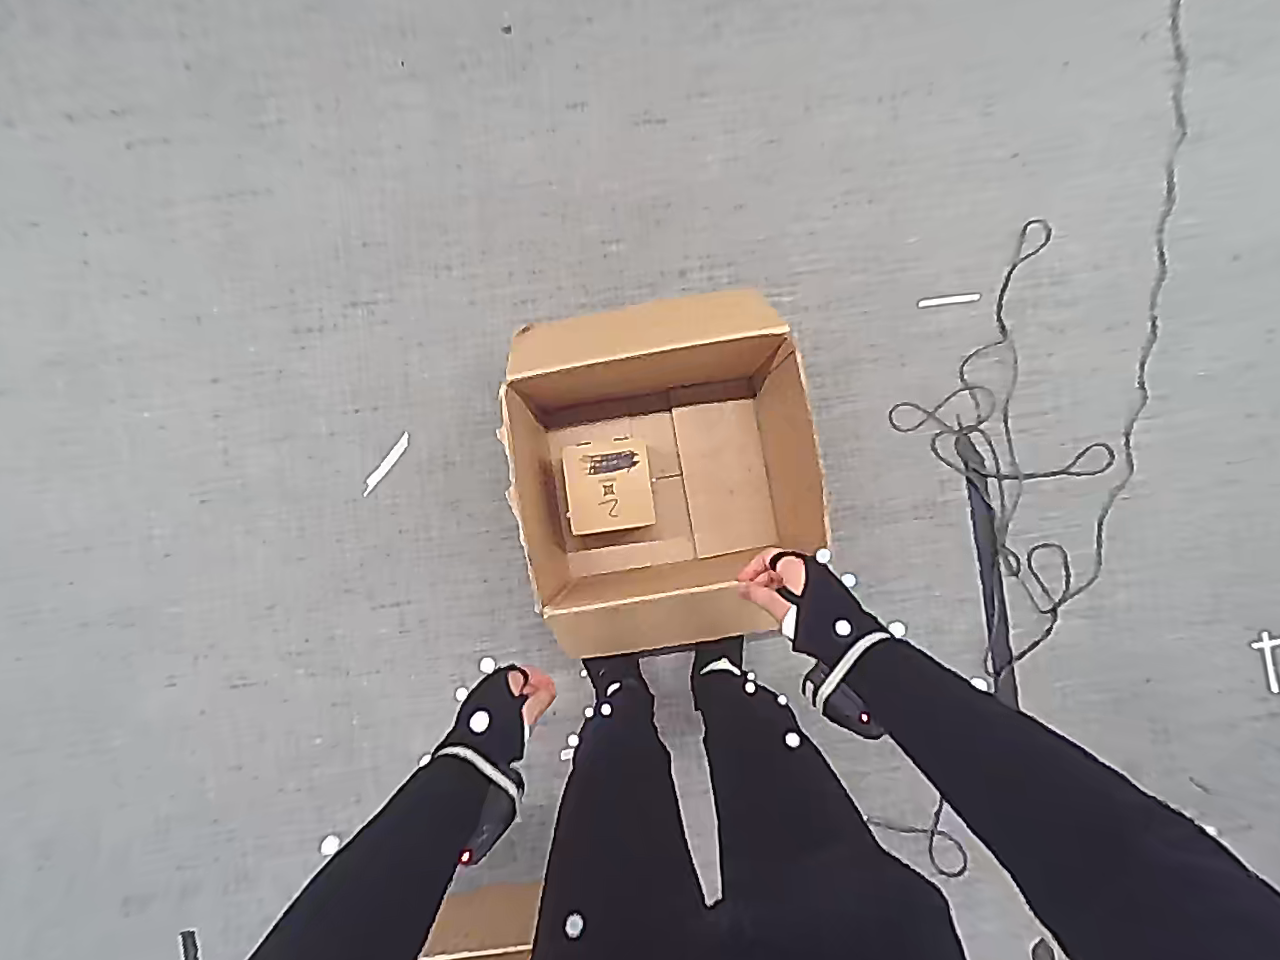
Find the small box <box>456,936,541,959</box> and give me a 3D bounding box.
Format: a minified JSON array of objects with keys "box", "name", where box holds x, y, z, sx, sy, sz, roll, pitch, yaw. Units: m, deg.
[{"box":[-0.285,1.036,1.050,0.179,0.176,0.168,-4,89,-3],"name":"small box"}]
